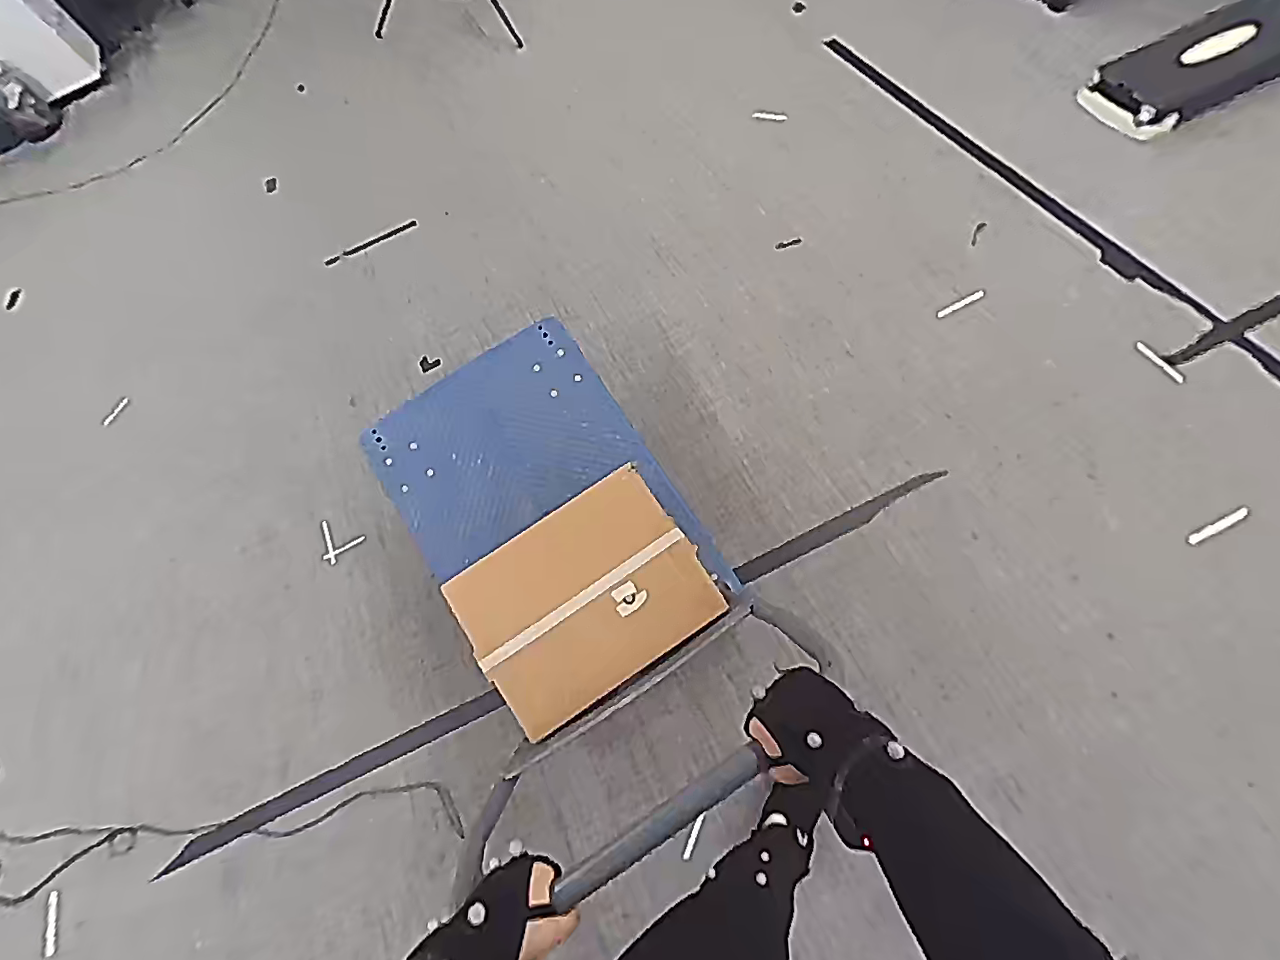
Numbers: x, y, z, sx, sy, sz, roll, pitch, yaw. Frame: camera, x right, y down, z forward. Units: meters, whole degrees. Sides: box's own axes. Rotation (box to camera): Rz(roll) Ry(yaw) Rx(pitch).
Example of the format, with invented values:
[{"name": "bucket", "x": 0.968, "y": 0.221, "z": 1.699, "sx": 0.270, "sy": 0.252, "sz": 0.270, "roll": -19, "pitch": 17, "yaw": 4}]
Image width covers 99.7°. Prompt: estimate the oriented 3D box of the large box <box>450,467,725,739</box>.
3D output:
[{"name": "large box", "x": -0.093, "y": 0.237, "z": 1.101, "sx": 0.408, "sy": 0.320, "sz": 0.320, "roll": -34, "pitch": 81, "yaw": -6}]
